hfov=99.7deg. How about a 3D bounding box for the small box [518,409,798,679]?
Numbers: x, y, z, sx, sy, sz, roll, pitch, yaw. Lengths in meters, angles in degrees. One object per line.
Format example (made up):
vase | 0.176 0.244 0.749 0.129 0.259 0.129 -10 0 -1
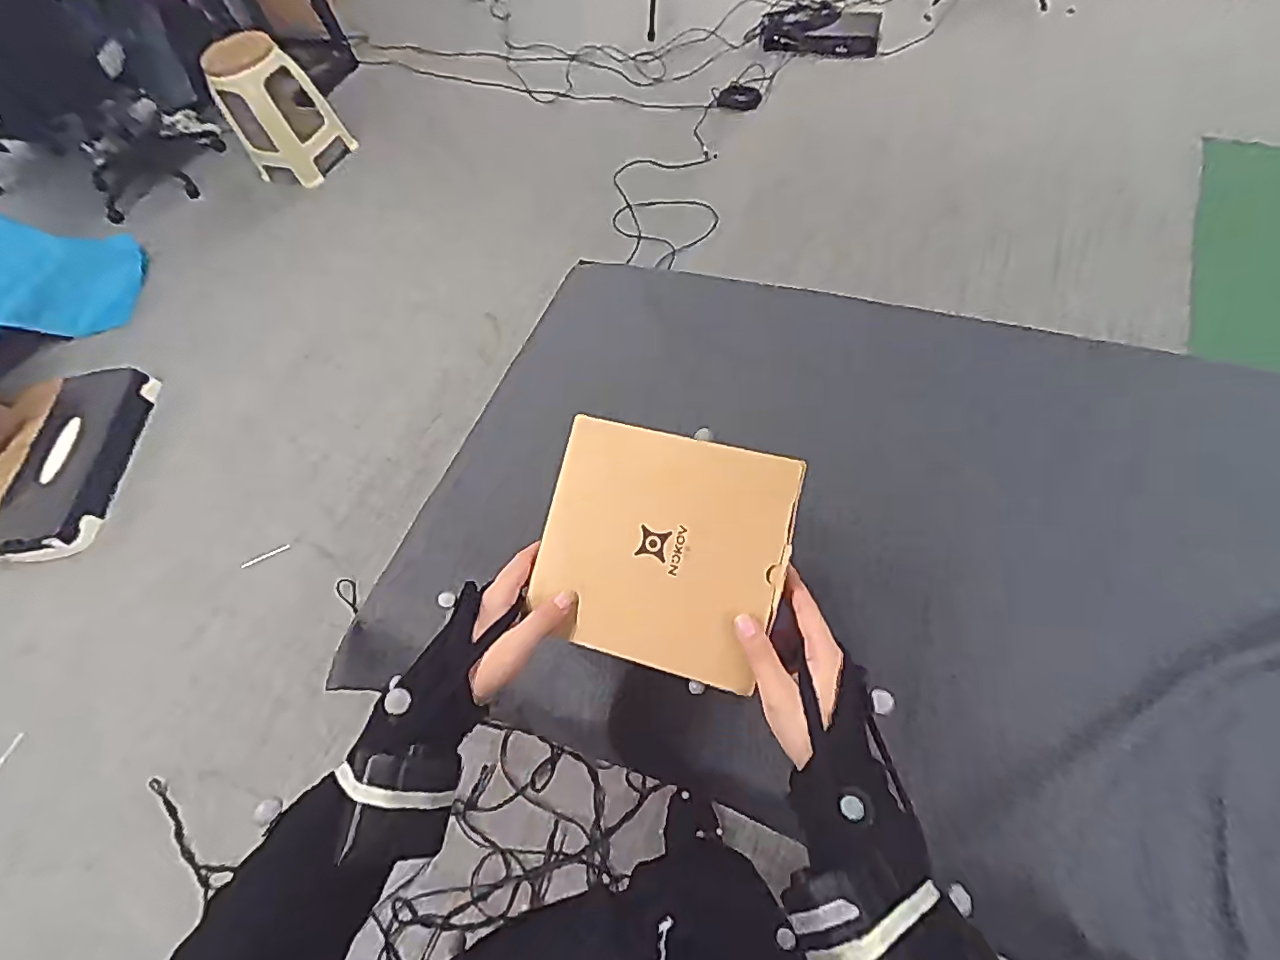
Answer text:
small box | 0.024 0.054 0.469 0.179 0.176 0.168 12 82 11
